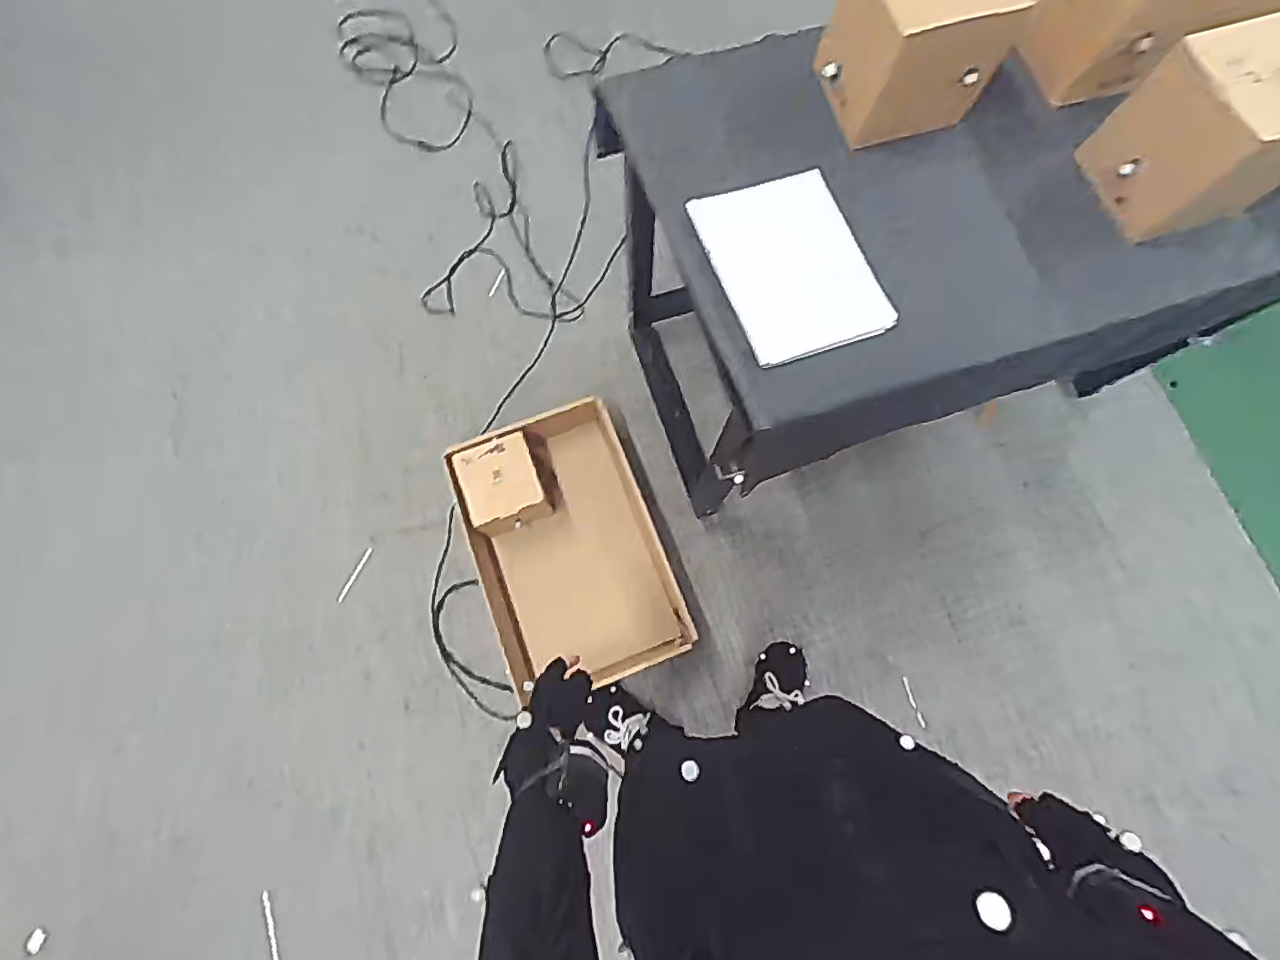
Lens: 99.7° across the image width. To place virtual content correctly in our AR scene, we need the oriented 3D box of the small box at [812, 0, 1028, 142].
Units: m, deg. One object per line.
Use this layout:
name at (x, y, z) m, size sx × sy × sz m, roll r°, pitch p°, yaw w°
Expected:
small box at (0.365, -0.607, 0.740) m, size 0.179 × 0.176 × 0.168 m, roll -15°, pitch 77°, yaw -5°

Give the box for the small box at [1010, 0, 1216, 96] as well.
small box at (0.672, -0.683, 0.764) m, size 0.168 × 0.176 × 0.179 m, roll -14°, pitch 76°, yaw -4°

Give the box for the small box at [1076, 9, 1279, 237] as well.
small box at (0.739, -0.454, 0.704) m, size 0.179 × 0.176 × 0.168 m, roll -17°, pitch 76°, yaw -4°
